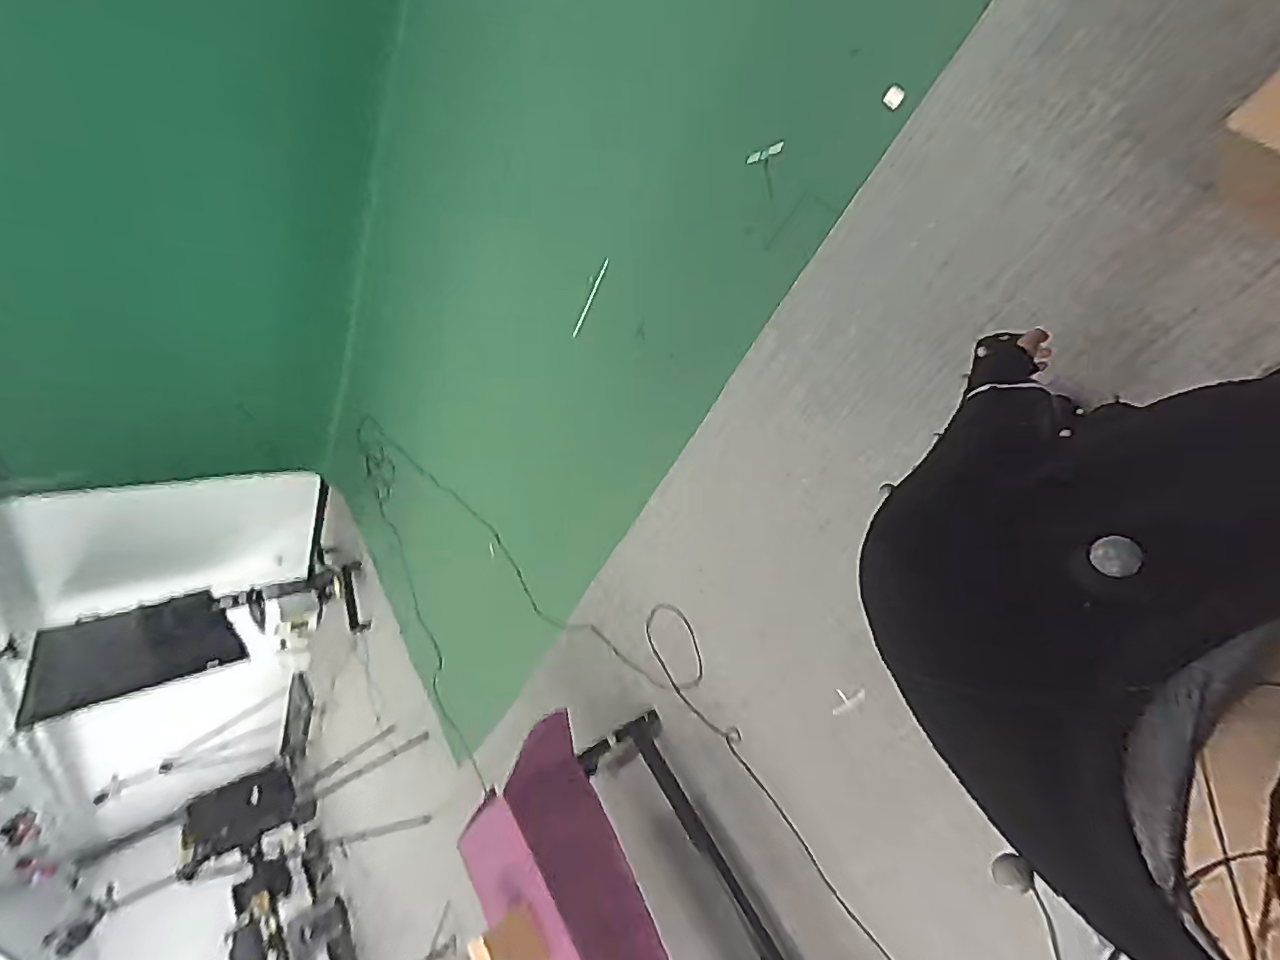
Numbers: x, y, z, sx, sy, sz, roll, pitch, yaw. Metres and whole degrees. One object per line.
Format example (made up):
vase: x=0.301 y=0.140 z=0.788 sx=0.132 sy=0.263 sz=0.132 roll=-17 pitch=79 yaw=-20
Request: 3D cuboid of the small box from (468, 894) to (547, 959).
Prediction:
small box: x=-0.426 y=1.496 z=1.750 sx=0.179 sy=0.176 sz=0.168 roll=56 pitch=130 yaw=24
